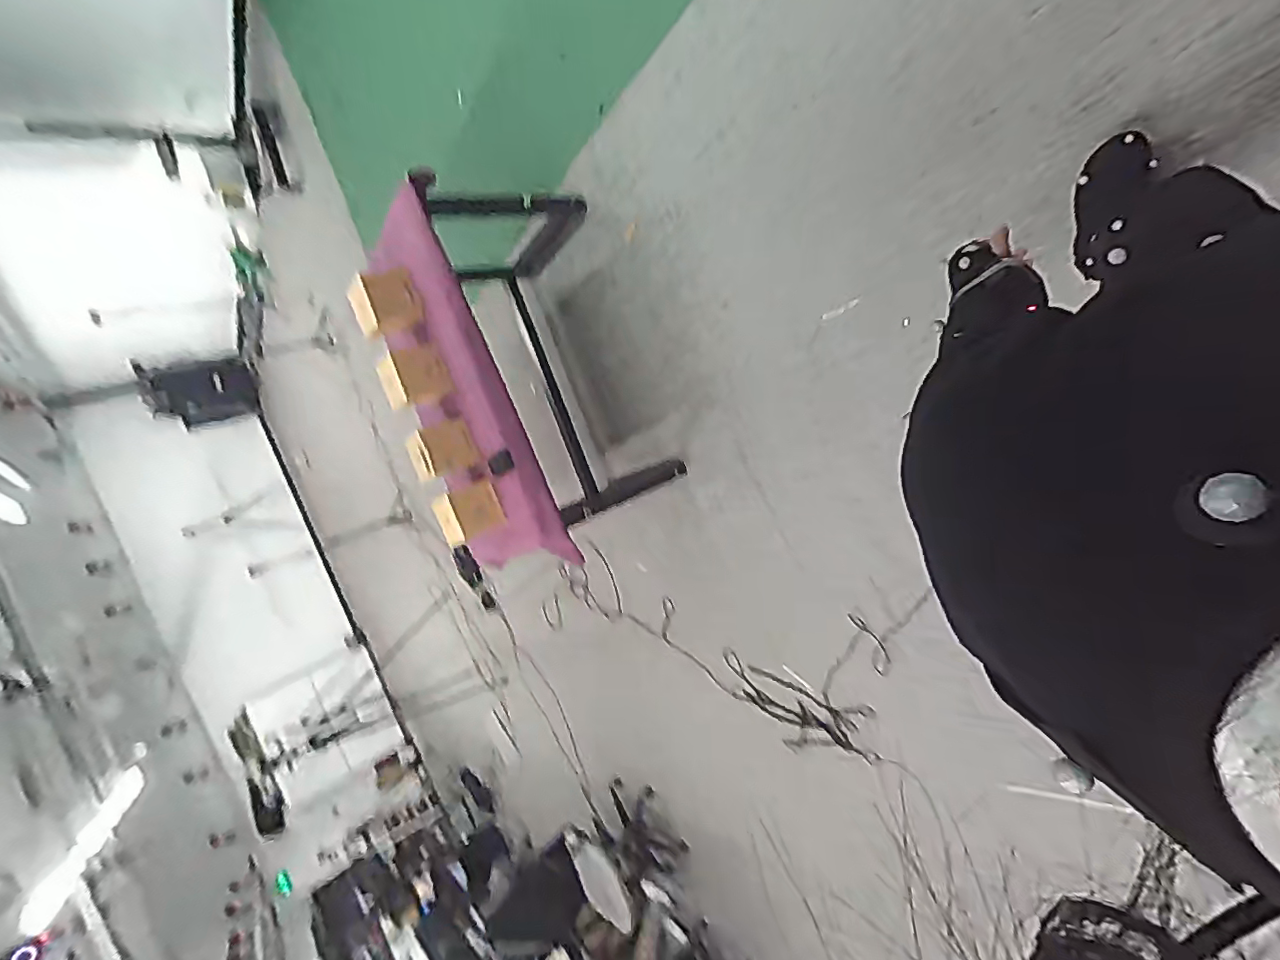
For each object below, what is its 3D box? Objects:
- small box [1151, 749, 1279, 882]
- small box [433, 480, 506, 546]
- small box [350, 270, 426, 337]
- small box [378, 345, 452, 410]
[{"bbox_3d":[1.283,0.729,1.198,0.179,0.176,0.168,-20,93,51],"label":"small box"},{"bbox_3d":[-0.592,0.114,1.895,0.179,0.176,0.168,-21,92,52],"label":"small box"},{"bbox_3d":[-0.853,-0.600,1.836,0.179,0.176,0.168,-9,102,50],"label":"small box"},{"bbox_3d":[-0.768,-0.354,1.860,0.179,0.176,0.168,-12,99,51],"label":"small box"}]
